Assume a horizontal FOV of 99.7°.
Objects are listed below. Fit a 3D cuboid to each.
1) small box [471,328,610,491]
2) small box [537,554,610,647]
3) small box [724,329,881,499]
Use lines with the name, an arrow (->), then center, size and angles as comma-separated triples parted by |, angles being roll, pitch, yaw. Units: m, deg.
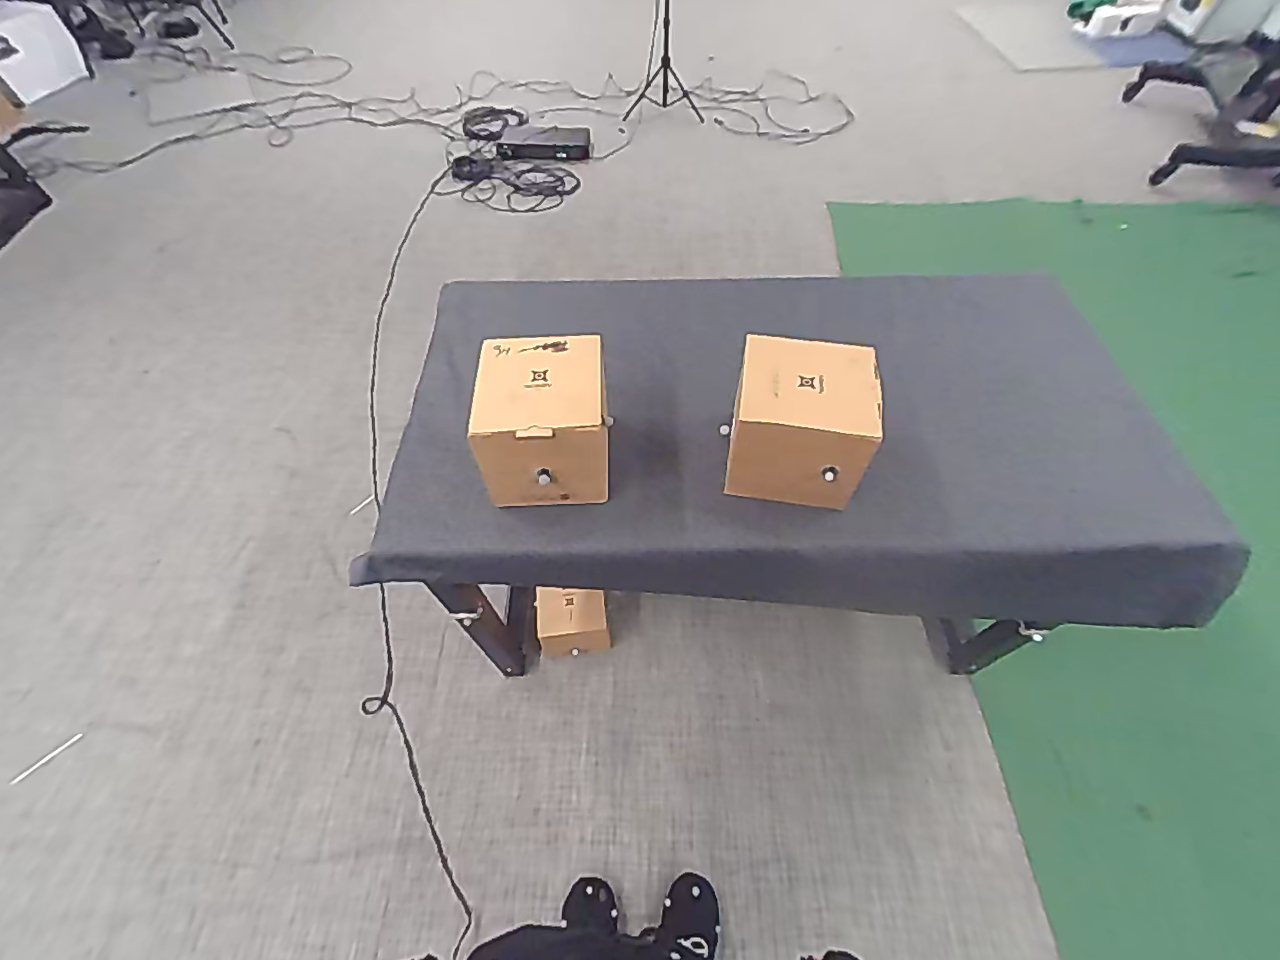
small box -> -0.130, -0.093, 0.776 | 0.168, 0.176, 0.179 | -2, 56, -2
small box -> -0.169, 0.311, 1.385 | 0.168, 0.176, 0.179 | -7, 57, -4
small box -> 0.222, -0.089, 0.774 | 0.179, 0.176, 0.168 | 7, 55, 6
